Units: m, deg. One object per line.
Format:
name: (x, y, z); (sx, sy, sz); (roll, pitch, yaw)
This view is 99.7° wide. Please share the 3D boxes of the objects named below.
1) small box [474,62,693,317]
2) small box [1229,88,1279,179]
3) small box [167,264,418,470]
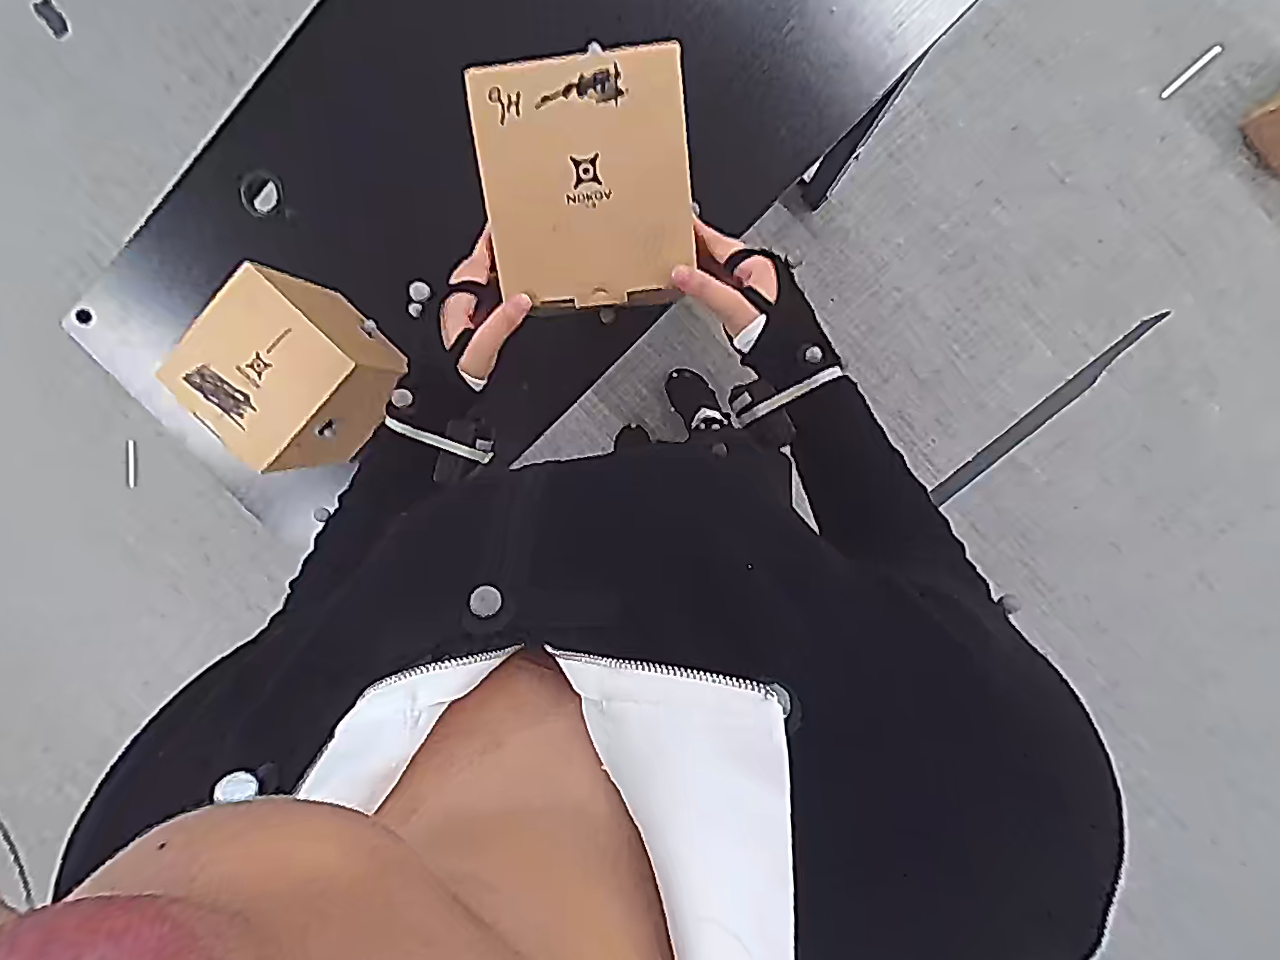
small box: (-0.040, -0.254, 0.518); (0.168, 0.176, 0.179); (-5, 106, 2)
small box: (1.512, -0.809, 1.206); (0.168, 0.176, 0.179); (-41, 93, 8)
small box: (-0.425, -0.134, 0.694); (0.168, 0.176, 0.179); (44, 96, -2)
